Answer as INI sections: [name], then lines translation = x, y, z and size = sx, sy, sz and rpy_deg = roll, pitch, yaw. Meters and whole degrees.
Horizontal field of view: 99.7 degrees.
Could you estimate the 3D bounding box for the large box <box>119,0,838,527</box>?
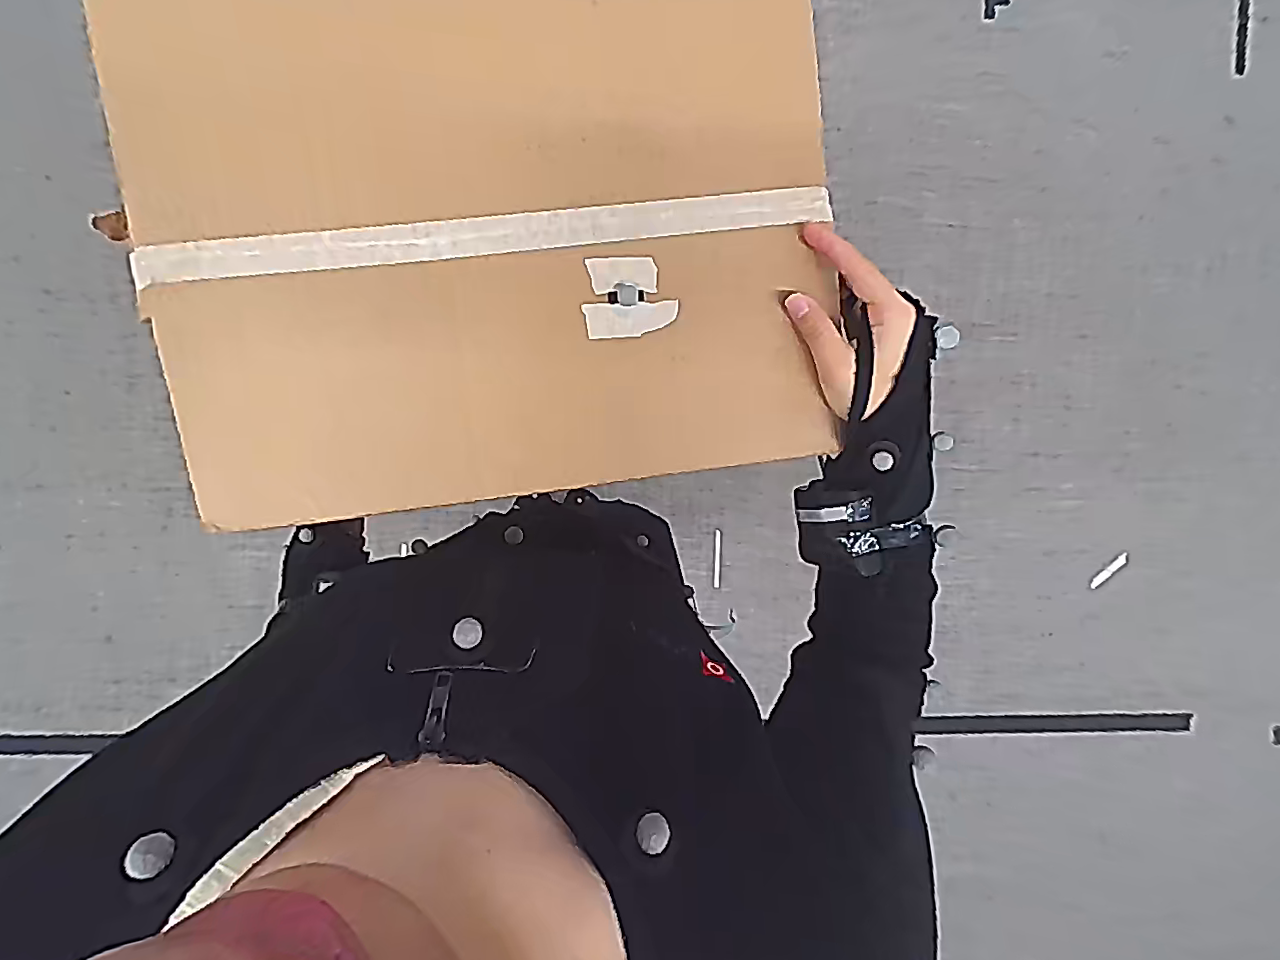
[large box]
translation = -0.096, -0.163, 0.483
size = 0.408, 0.320, 0.320
rpy_deg = -8, 97, -6
